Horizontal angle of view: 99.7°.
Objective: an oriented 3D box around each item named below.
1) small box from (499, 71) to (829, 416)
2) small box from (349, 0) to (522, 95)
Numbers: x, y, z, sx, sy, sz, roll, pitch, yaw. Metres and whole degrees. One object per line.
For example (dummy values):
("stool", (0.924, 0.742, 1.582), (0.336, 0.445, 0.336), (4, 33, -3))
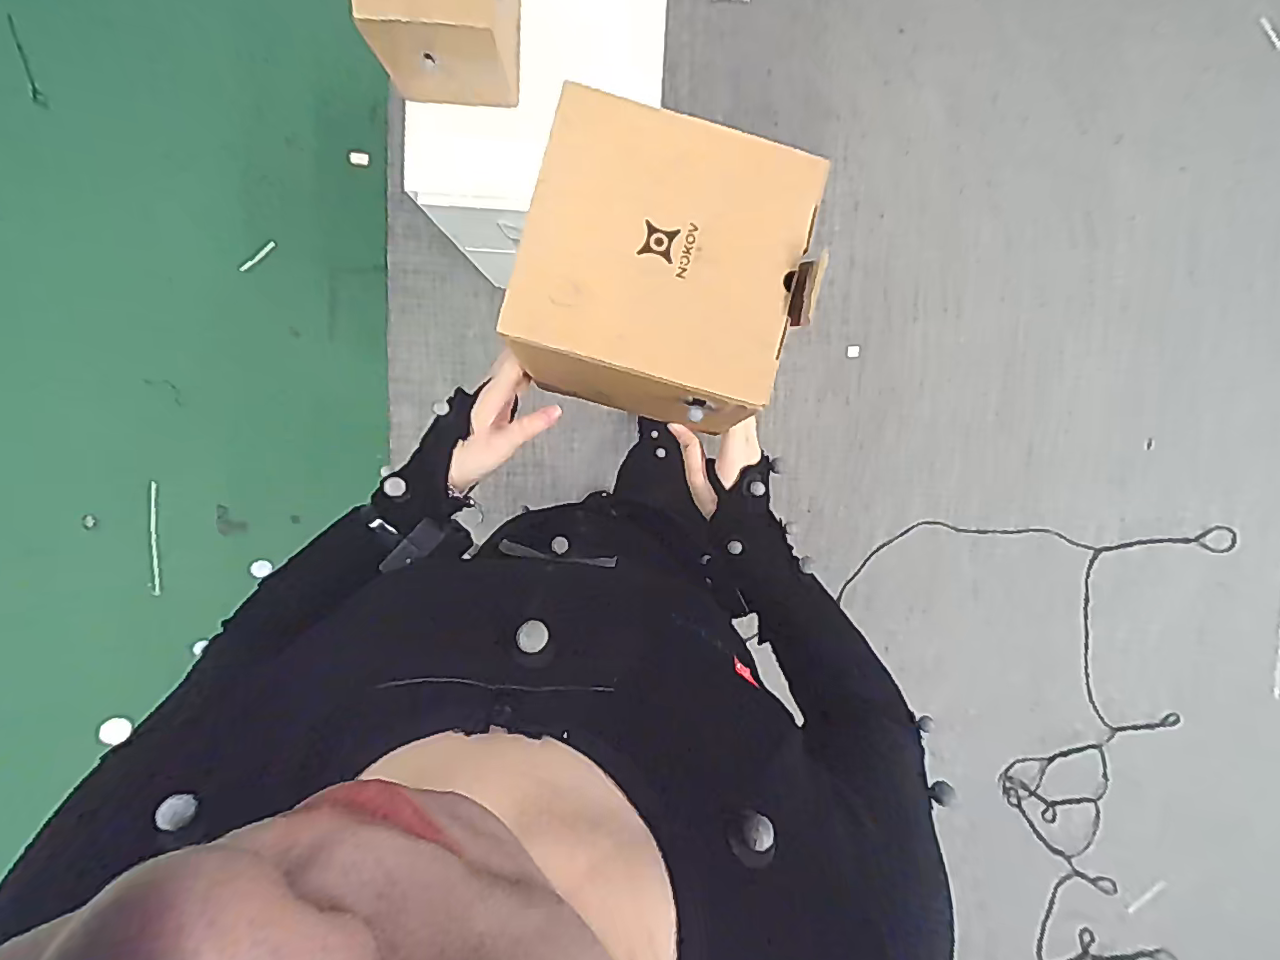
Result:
("small box", (0.012, -0.153, 0.415), (0.179, 0.176, 0.168), (14, 89, -3))
("small box", (-0.267, -0.660, 0.734), (0.179, 0.176, 0.168), (2, 96, -1))
